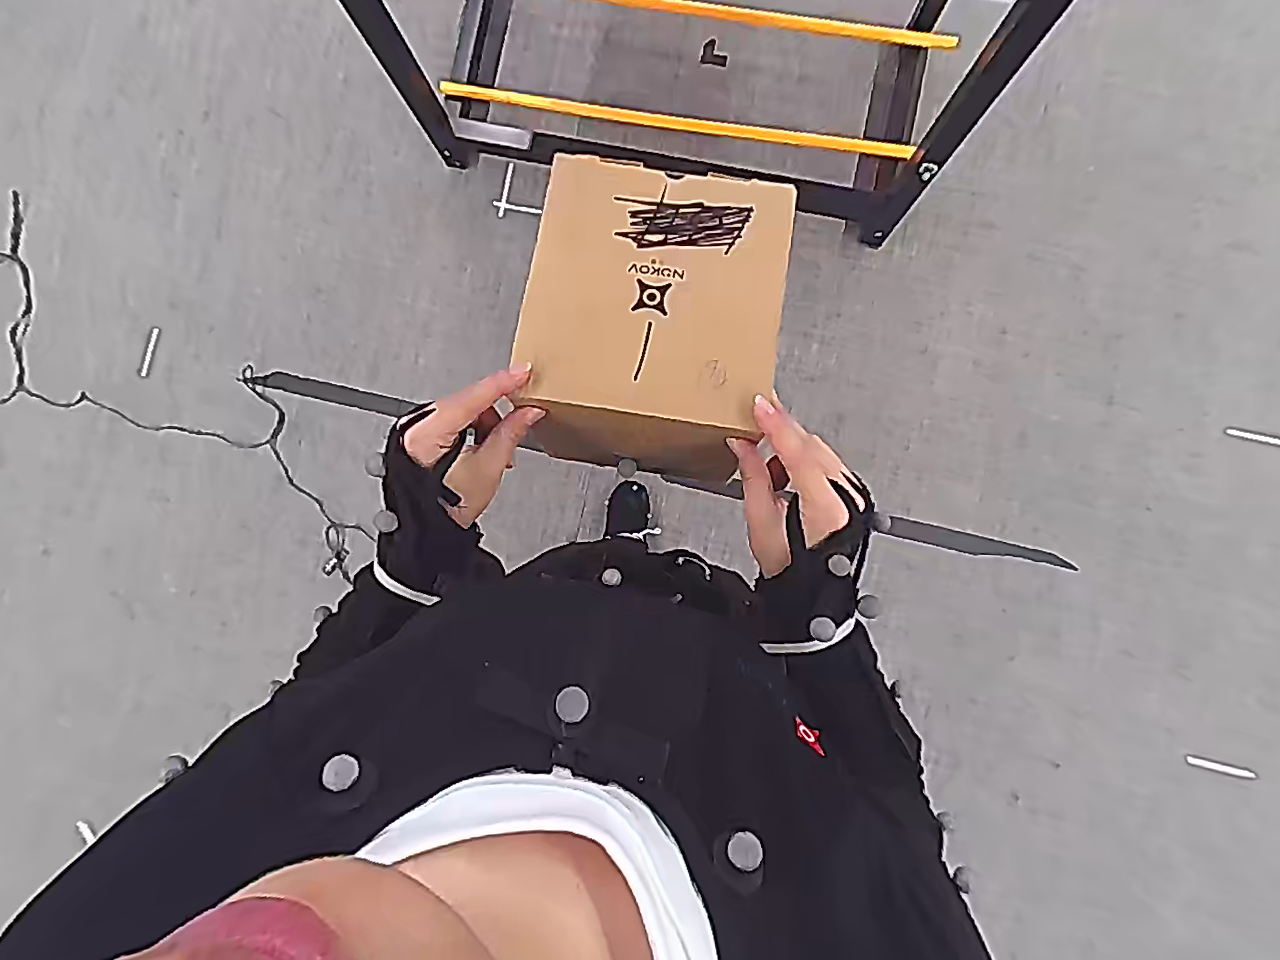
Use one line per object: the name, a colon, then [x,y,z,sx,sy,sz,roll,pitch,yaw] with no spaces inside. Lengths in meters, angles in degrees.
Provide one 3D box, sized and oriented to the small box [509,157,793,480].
small box: [0.011,-0.110,0.431,0.168,0.176,0.179,9,79,2]
